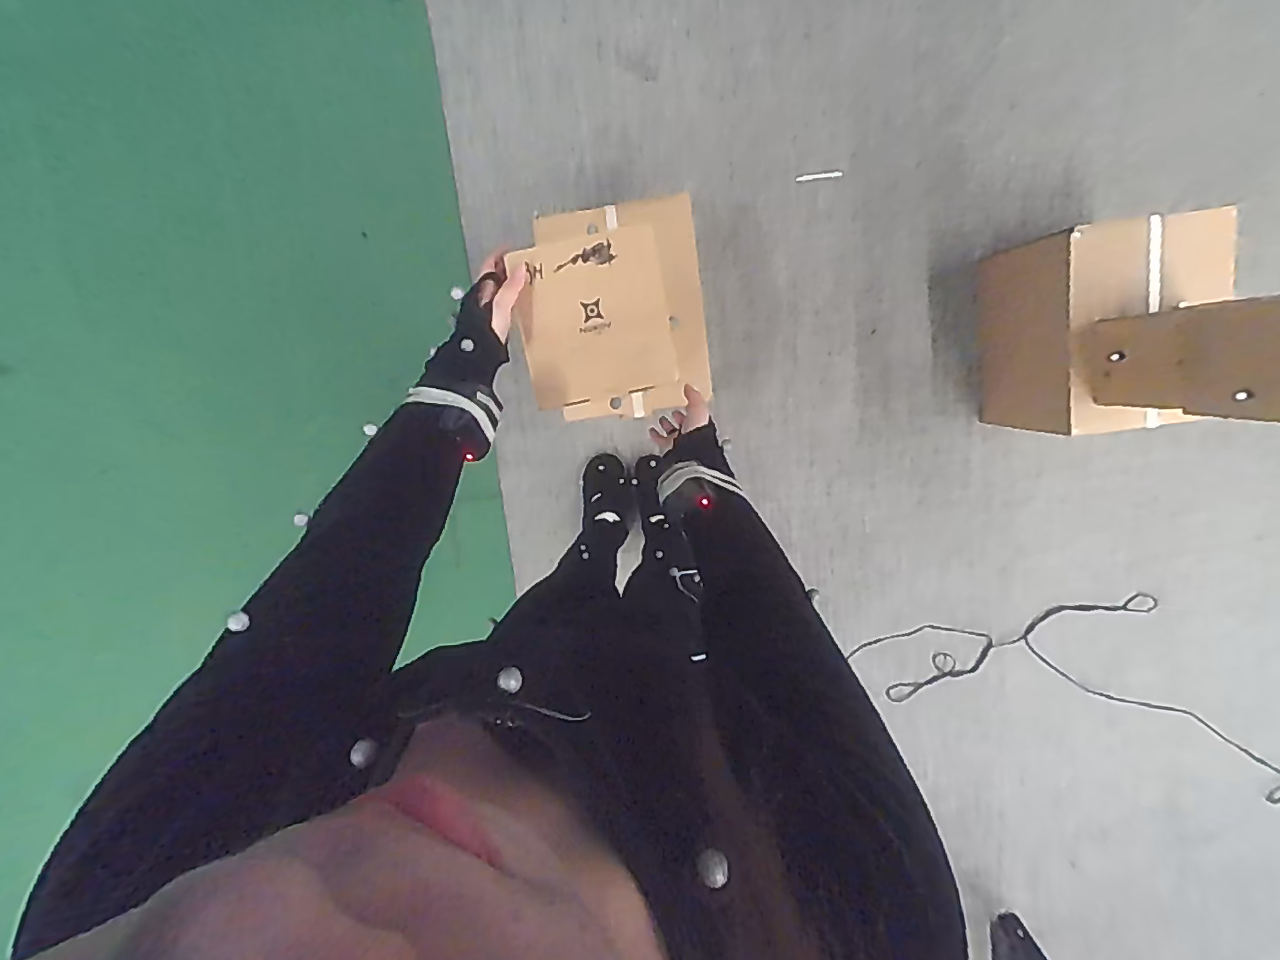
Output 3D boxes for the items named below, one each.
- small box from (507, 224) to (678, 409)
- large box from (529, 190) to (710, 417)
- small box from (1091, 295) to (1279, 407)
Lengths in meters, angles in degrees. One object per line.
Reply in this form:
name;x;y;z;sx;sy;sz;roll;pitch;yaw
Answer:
small box;-0.048;-0.194;0.674;0.168;0.176;0.179;-11;101;3
large box;-0.031;-0.369;1.223;0.320;0.320;0.408;-8;100;2
small box;0.982;-0.234;0.989;0.179;0.176;0.168;-9;101;4
